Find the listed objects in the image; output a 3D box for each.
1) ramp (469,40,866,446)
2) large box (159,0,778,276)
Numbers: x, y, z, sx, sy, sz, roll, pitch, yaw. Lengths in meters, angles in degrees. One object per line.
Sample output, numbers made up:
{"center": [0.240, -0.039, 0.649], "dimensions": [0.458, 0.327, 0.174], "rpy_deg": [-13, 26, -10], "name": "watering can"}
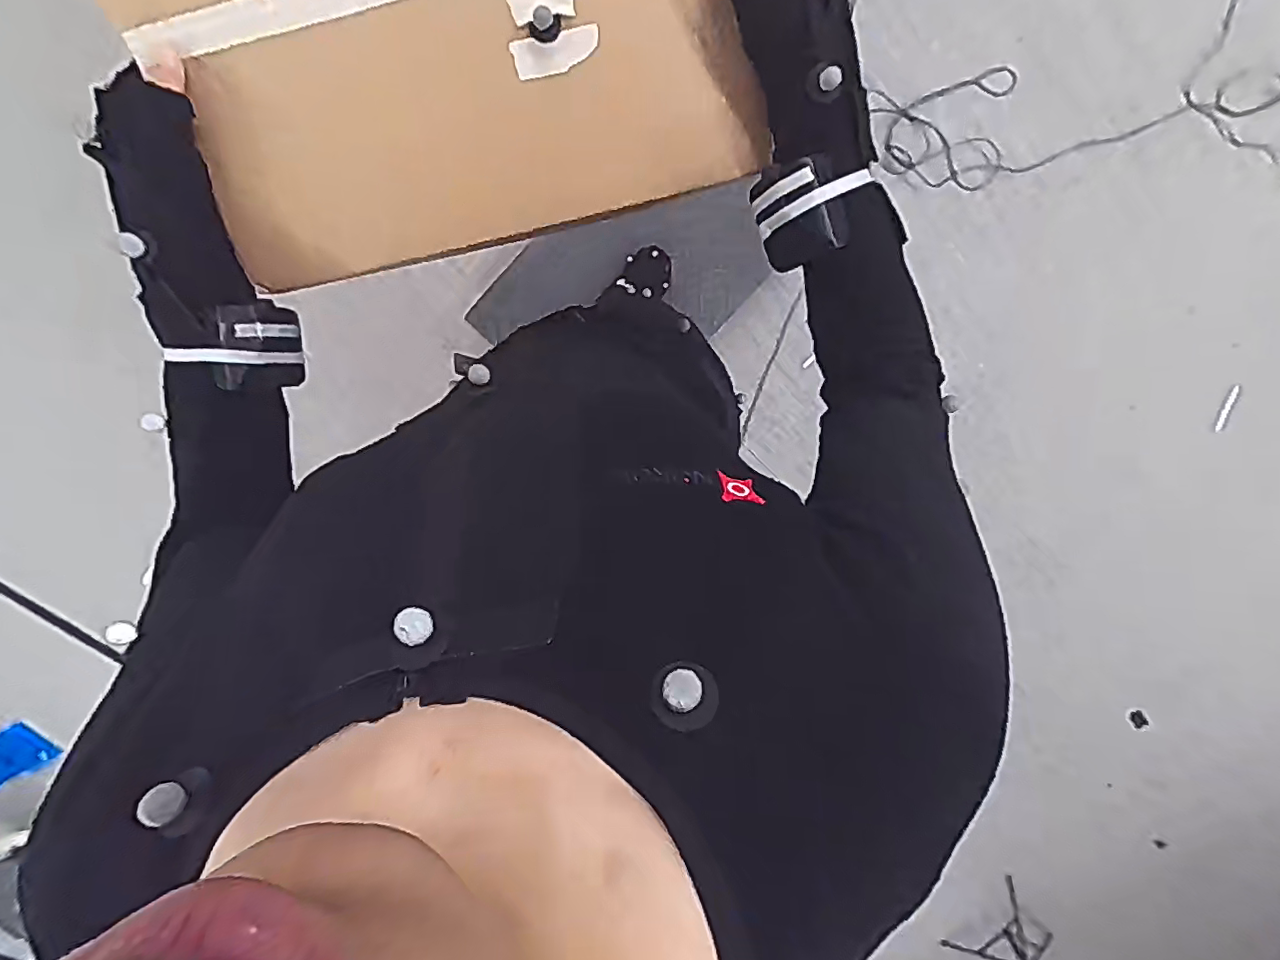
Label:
{"center": [0.075, -0.606, 1.375], "dimensions": [0.509, 0.206, 0.991], "rpy_deg": [40, 105, -13], "name": "ramp"}
{"center": [-0.127, -0.398, 0.490], "dimensions": [0.408, 0.320, 0.320], "rpy_deg": [-12, 115, 3], "name": "large box"}
